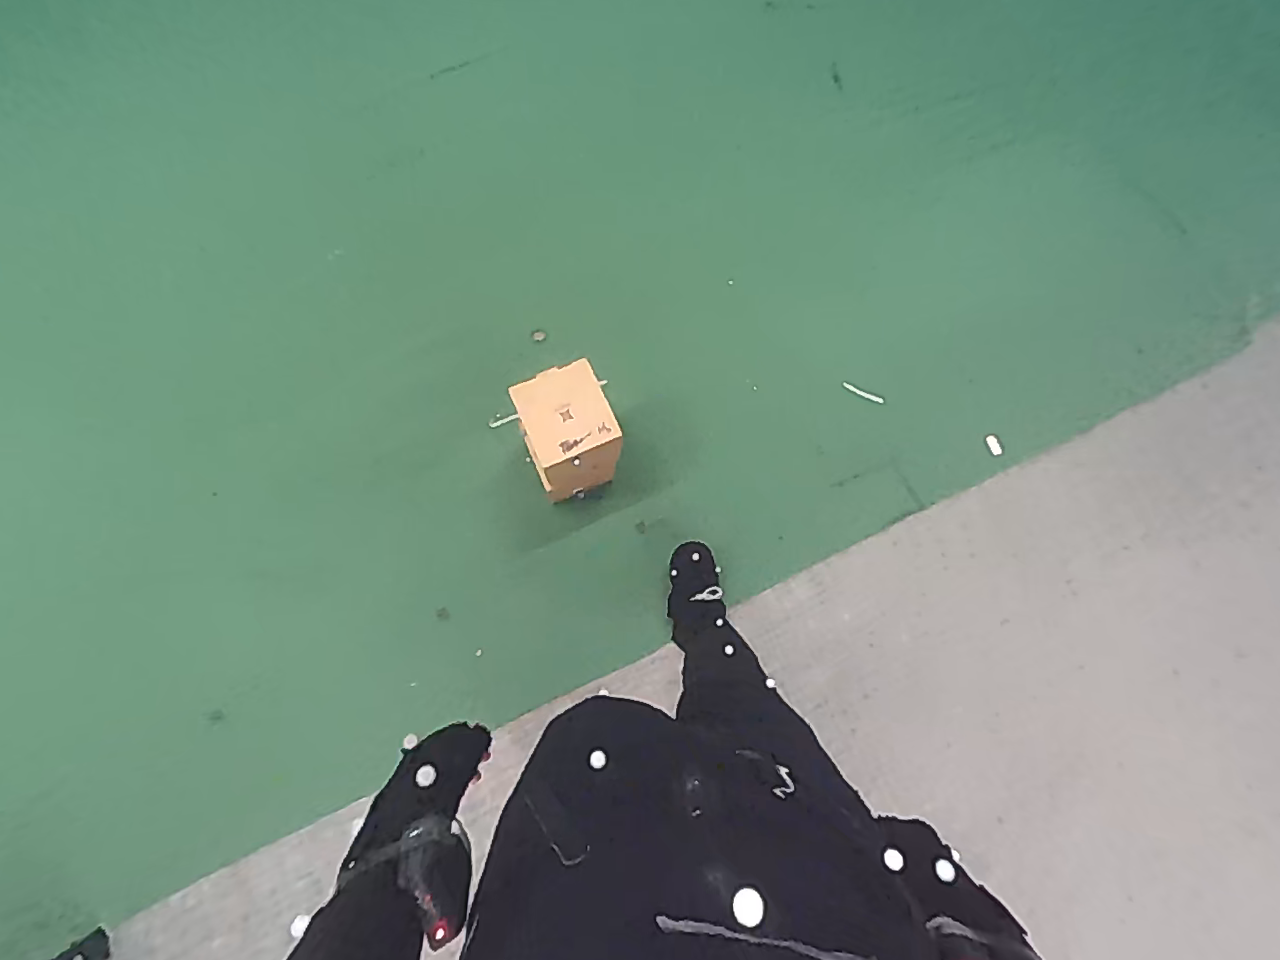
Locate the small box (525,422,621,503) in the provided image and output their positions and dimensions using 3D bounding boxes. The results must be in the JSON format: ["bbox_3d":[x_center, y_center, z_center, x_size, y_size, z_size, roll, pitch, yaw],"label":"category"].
[{"bbox_3d":[-0.154,-0.063,1.266,0.168,0.176,0.179,-23,81,-8],"label":"small box"}]

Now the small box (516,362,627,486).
[{"bbox_3d":[-0.138,-0.108,1.109,0.168,0.176,0.179,-23,79,-8],"label":"small box"}]
